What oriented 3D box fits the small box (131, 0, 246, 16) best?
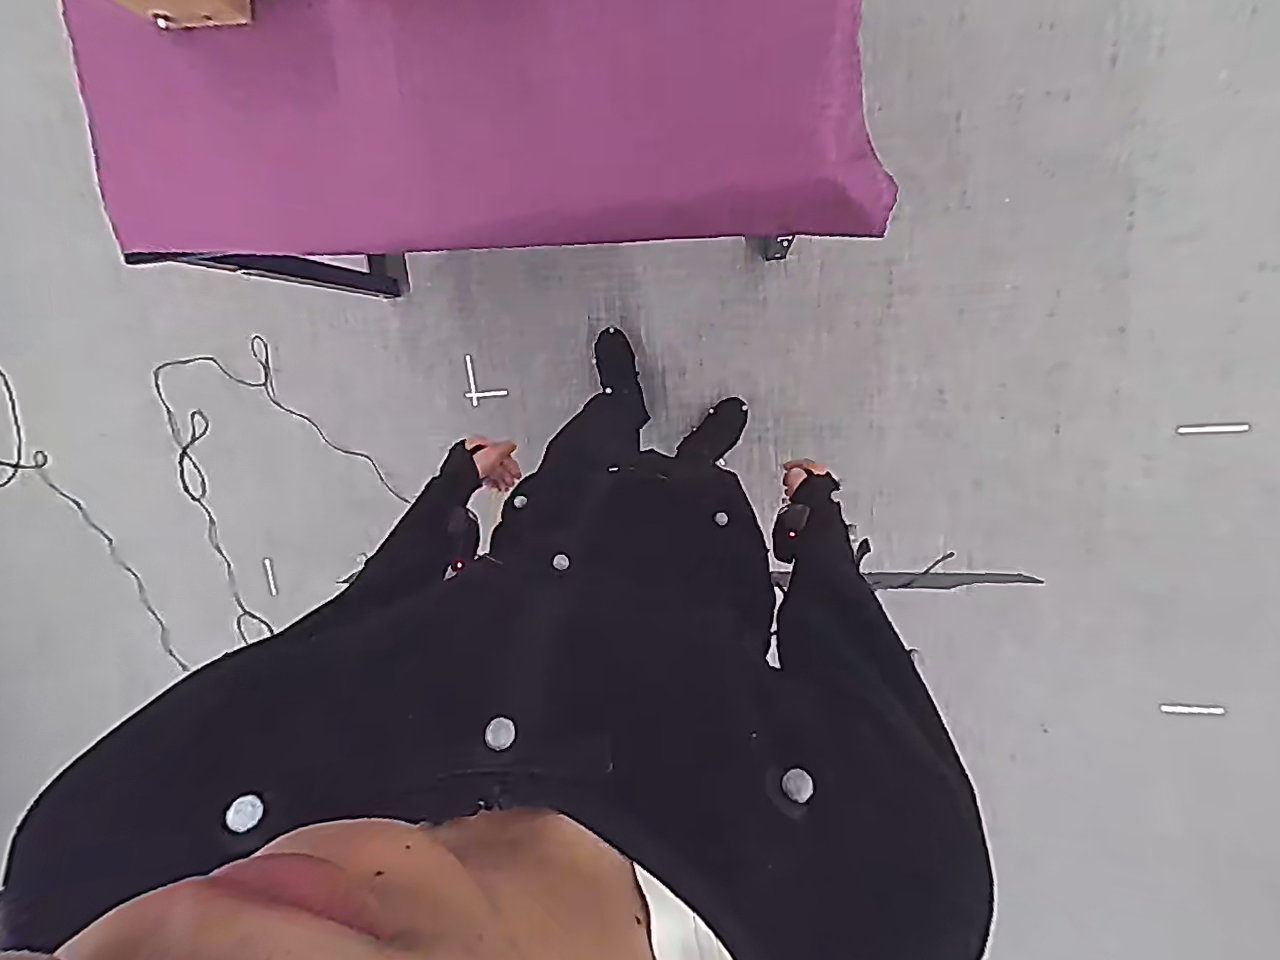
[{"bbox_3d":[-0.680,-0.775,0.738,0.168,0.176,0.179,4,103,8],"label":"small box"}]
